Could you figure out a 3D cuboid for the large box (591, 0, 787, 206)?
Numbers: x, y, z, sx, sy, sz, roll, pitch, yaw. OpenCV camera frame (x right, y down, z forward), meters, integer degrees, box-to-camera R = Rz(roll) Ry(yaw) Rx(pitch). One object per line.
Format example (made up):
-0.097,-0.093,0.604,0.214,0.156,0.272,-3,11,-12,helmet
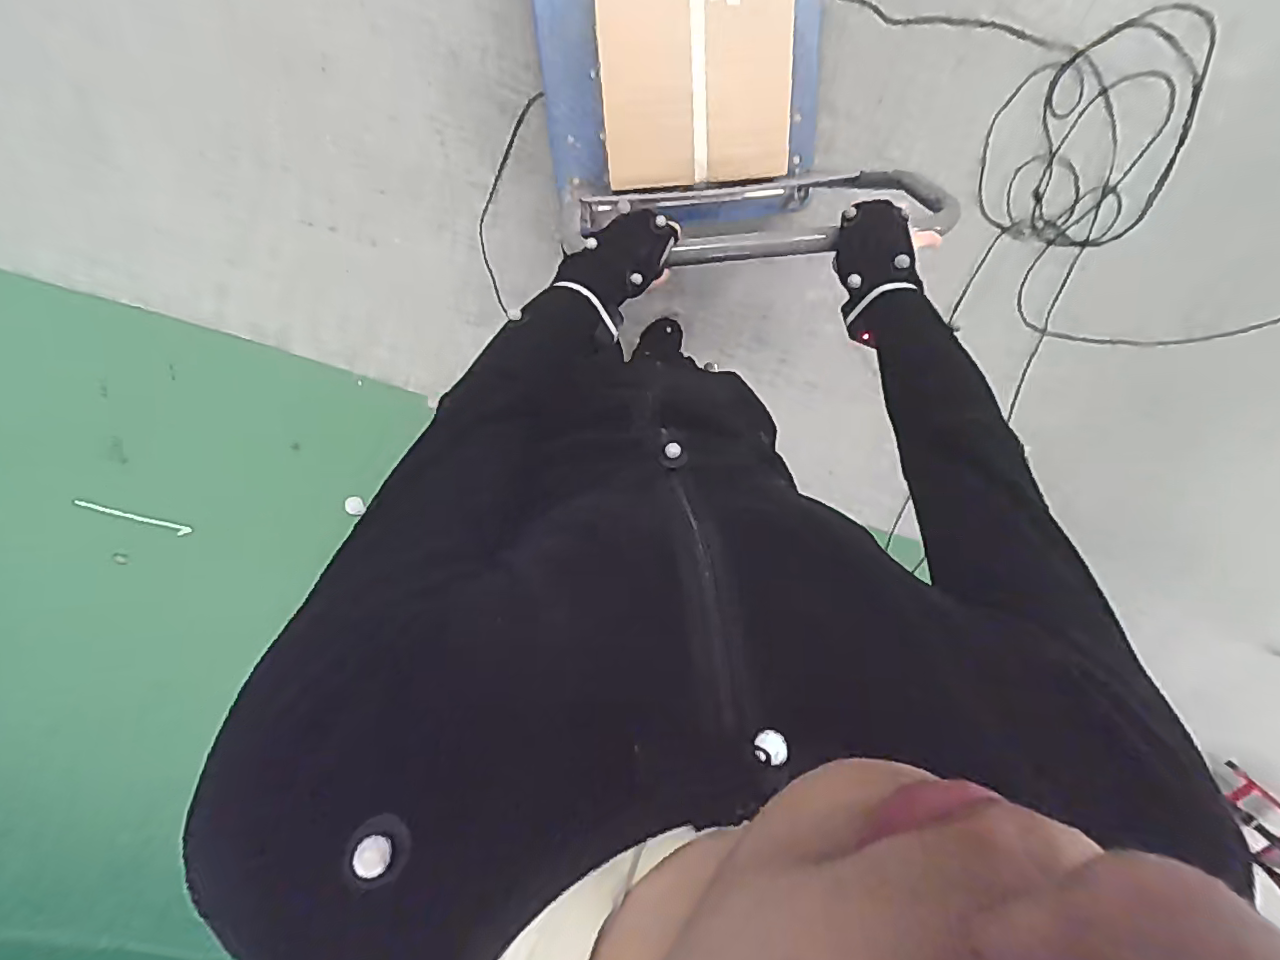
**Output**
0.080,-0.762,1.014,0.320,0.320,0.408,-6,113,-1,large box
